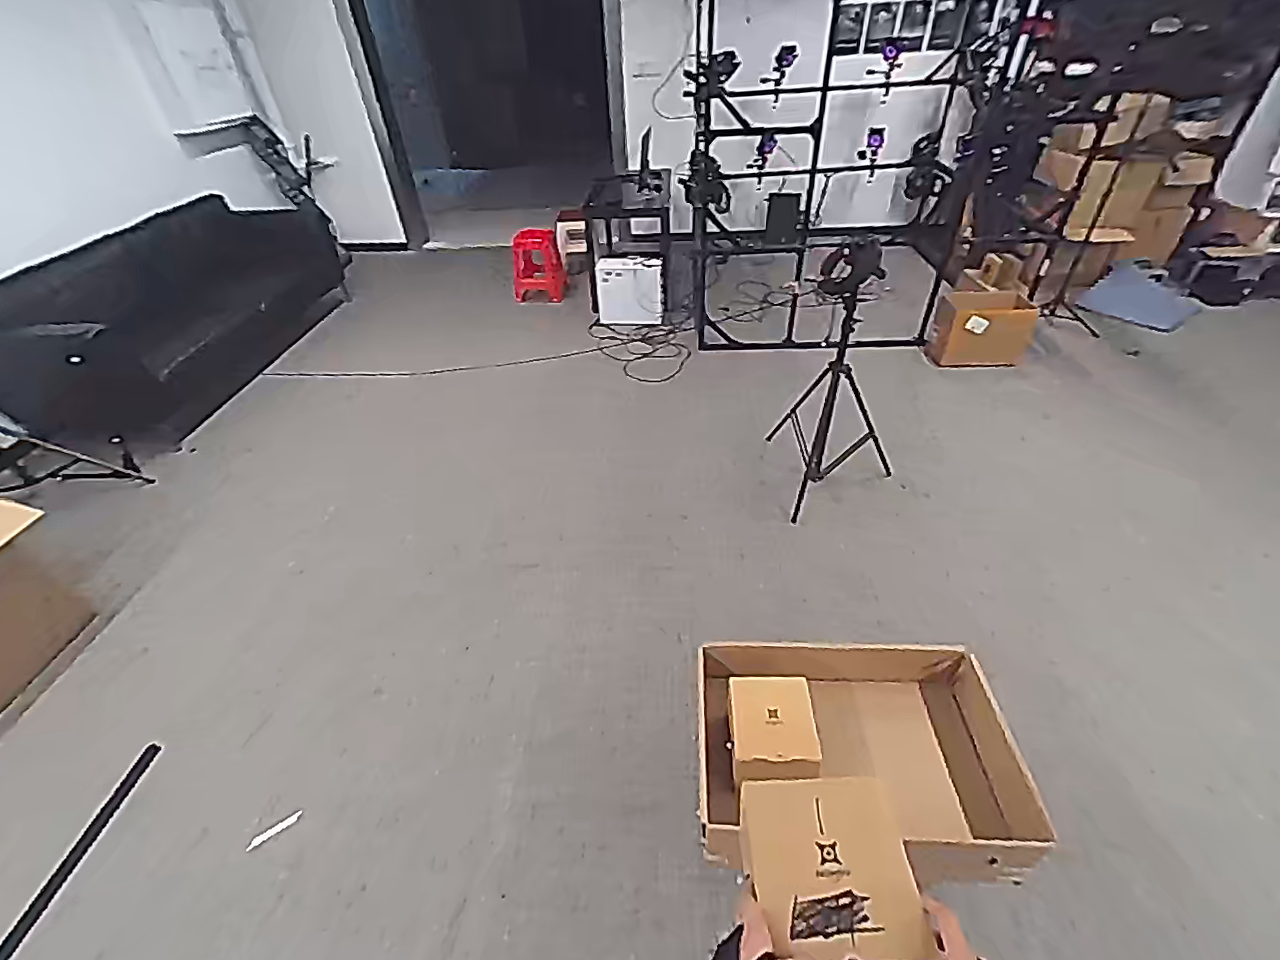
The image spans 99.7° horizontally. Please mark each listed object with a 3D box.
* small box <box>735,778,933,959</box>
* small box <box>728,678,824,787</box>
[{"bbox_3d":[0.204,0.473,0.619,0.168,0.176,0.179,-5,35,4],"label":"small box"},{"bbox_3d":[0.277,0.543,1.148,0.168,0.176,0.179,-2,40,4],"label":"small box"}]
